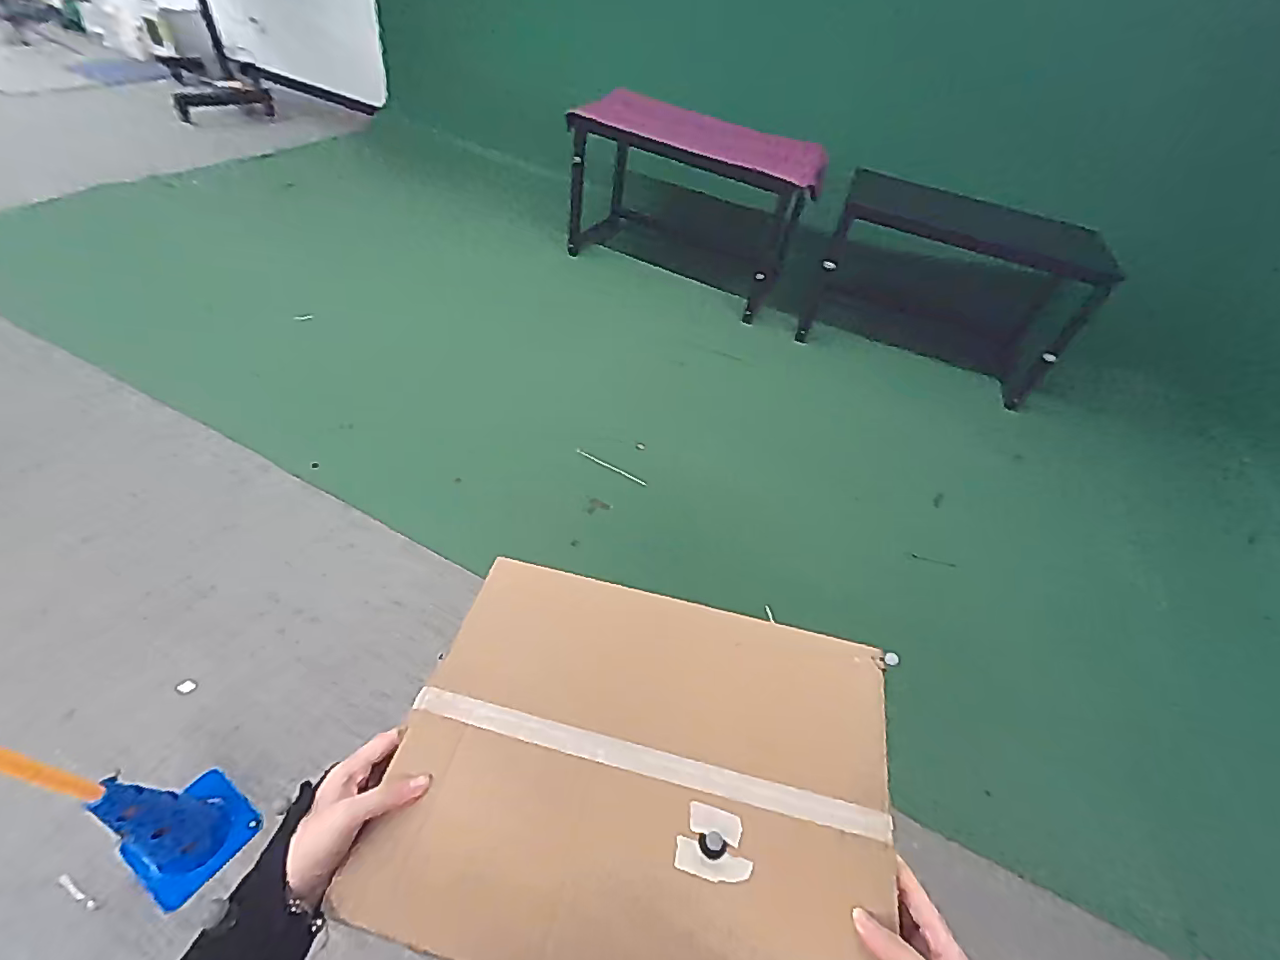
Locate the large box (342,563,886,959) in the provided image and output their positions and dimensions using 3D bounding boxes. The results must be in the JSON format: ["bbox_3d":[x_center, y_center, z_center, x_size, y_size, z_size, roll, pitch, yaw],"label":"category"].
[{"bbox_3d":[-0.005,0.335,0.581,0.408,0.320,0.320,12,49,7],"label":"large box"}]

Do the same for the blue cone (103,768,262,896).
[{"bbox_3d":[-0.932,0.645,1.051,0.193,0.380,0.192,32,48,18],"label":"blue cone"}]
